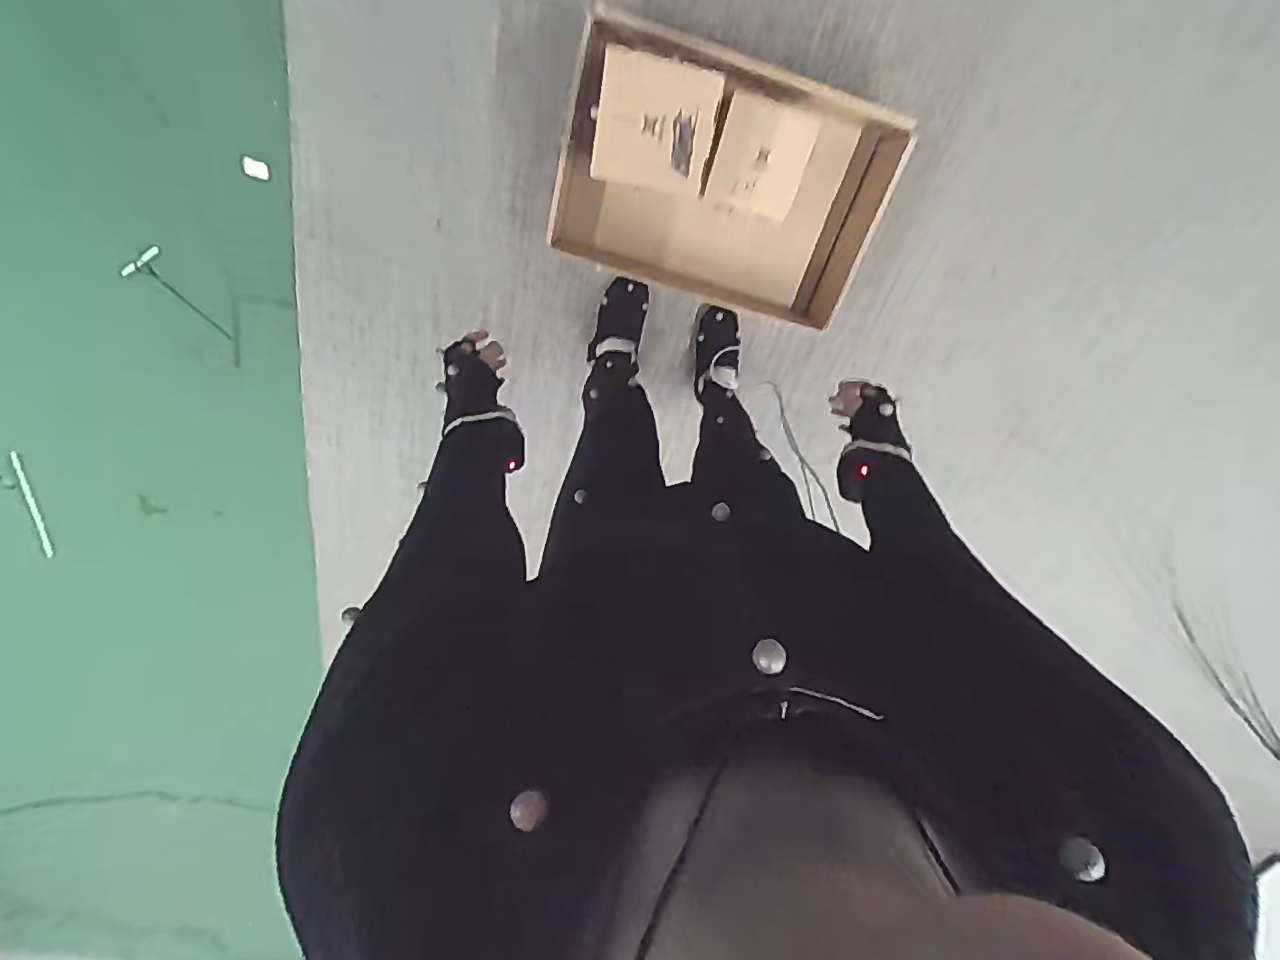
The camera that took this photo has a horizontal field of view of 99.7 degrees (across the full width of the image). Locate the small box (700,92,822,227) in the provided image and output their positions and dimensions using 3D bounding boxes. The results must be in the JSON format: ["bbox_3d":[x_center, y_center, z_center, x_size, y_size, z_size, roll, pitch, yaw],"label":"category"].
[{"bbox_3d":[0.218,-0.608,1.038,0.168,0.176,0.179,15,119,-6],"label":"small box"}]

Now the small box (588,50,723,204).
[{"bbox_3d":[0.020,-0.563,0.876,0.179,0.176,0.168,11,120,-5],"label":"small box"}]
